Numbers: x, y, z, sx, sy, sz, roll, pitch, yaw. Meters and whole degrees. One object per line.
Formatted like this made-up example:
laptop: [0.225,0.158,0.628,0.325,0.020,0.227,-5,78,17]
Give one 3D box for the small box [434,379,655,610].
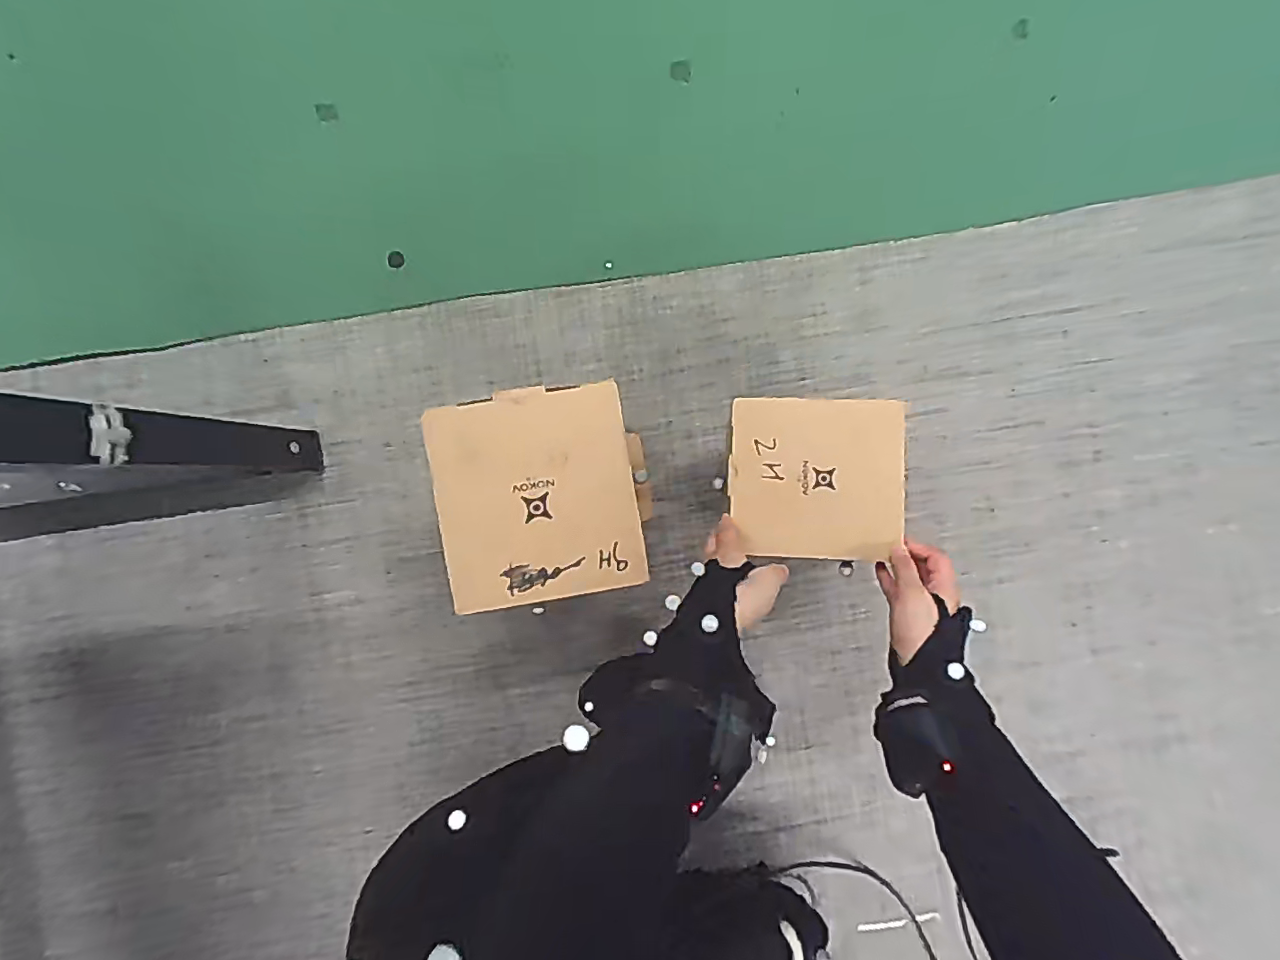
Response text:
small box: [-0.083,0.012,0.526,0.168,0.176,0.179,-8,90,-3]
